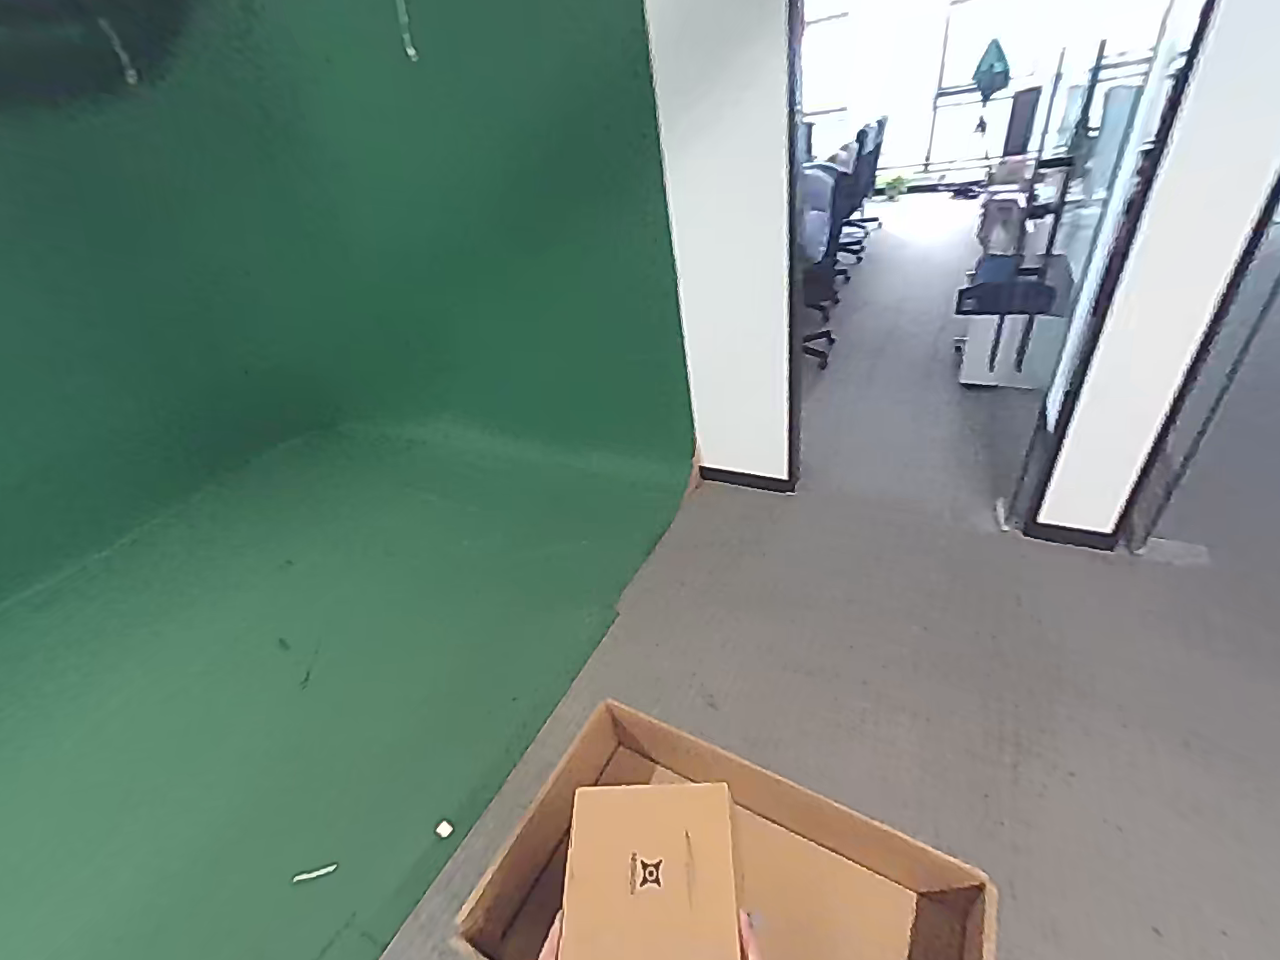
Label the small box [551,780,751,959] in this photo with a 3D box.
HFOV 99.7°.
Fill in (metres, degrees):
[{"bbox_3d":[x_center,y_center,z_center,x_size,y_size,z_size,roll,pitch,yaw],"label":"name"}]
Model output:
[{"bbox_3d":[0.022,0.452,0.599,0.179,0.176,0.168,-8,43,10],"label":"small box"}]
